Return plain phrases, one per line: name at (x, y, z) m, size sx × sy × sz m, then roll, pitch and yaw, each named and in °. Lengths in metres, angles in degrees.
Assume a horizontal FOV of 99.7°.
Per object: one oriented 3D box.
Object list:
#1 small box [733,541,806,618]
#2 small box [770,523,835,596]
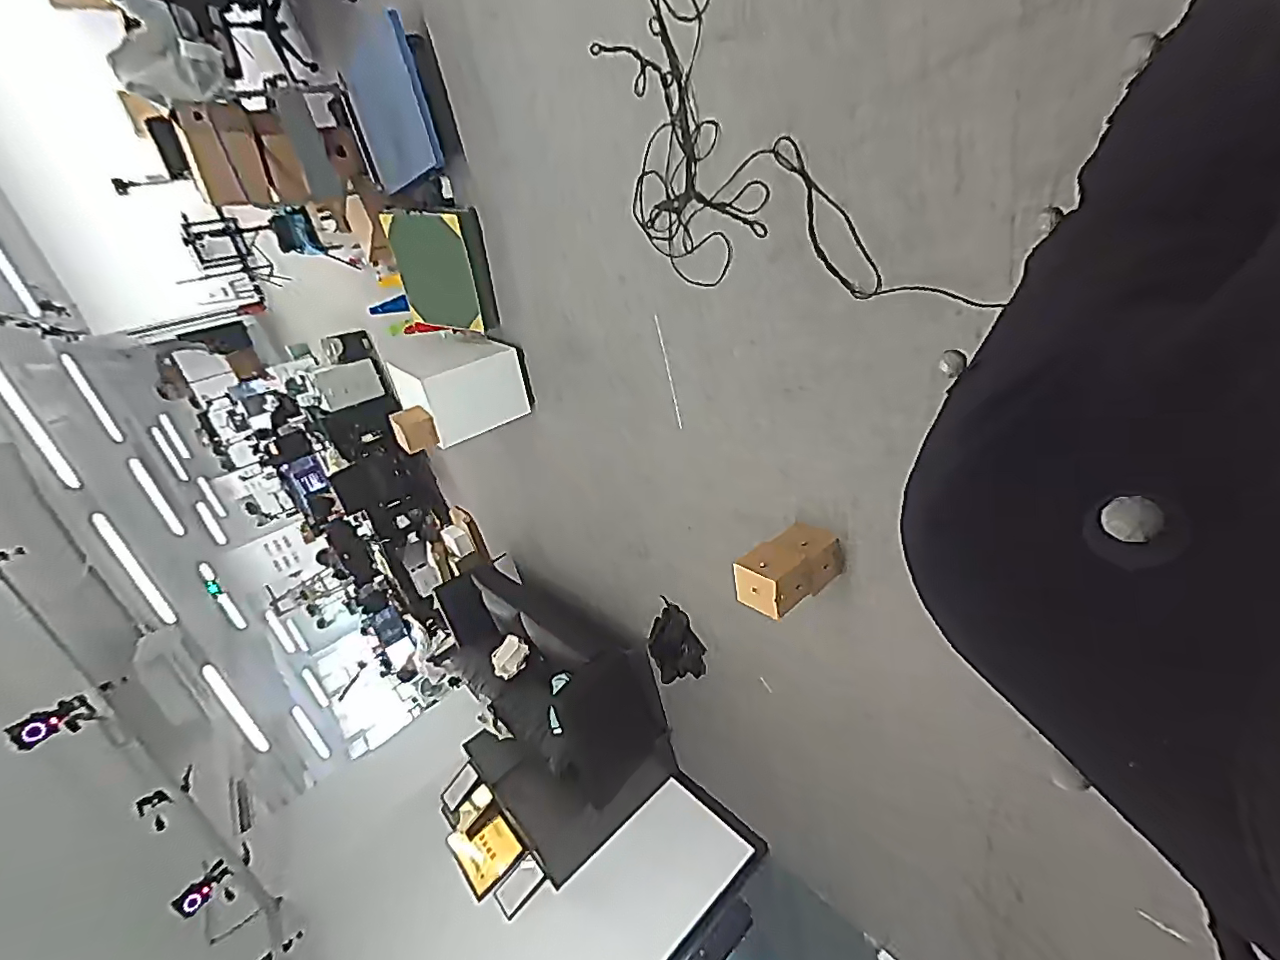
small box at (0.442, 0.328, 1.838) m, size 0.179 × 0.176 × 0.168 m, roll 20°, pitch 130°, yaw 47°
small box at (0.575, 0.274, 1.918) m, size 0.179 × 0.176 × 0.168 m, roll 19°, pitch 130°, yaw 47°
